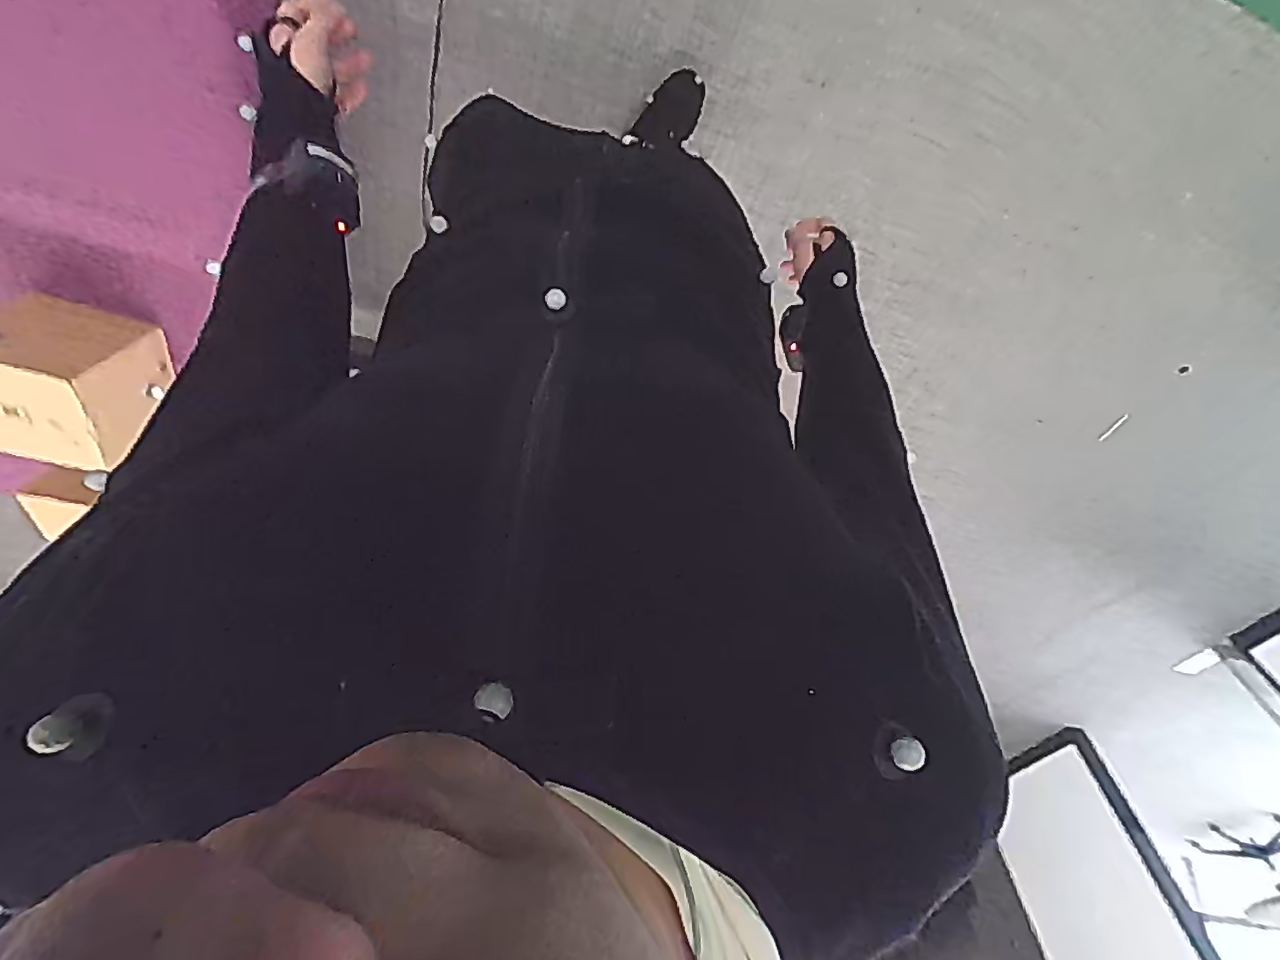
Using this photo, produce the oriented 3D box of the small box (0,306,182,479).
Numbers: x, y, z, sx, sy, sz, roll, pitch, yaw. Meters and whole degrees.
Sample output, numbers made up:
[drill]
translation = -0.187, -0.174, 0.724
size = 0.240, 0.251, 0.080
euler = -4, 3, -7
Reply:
[small box]
translation = -0.832, -0.133, 0.791
size = 0.179, 0.176, 0.168
euler = 15, 129, -11
